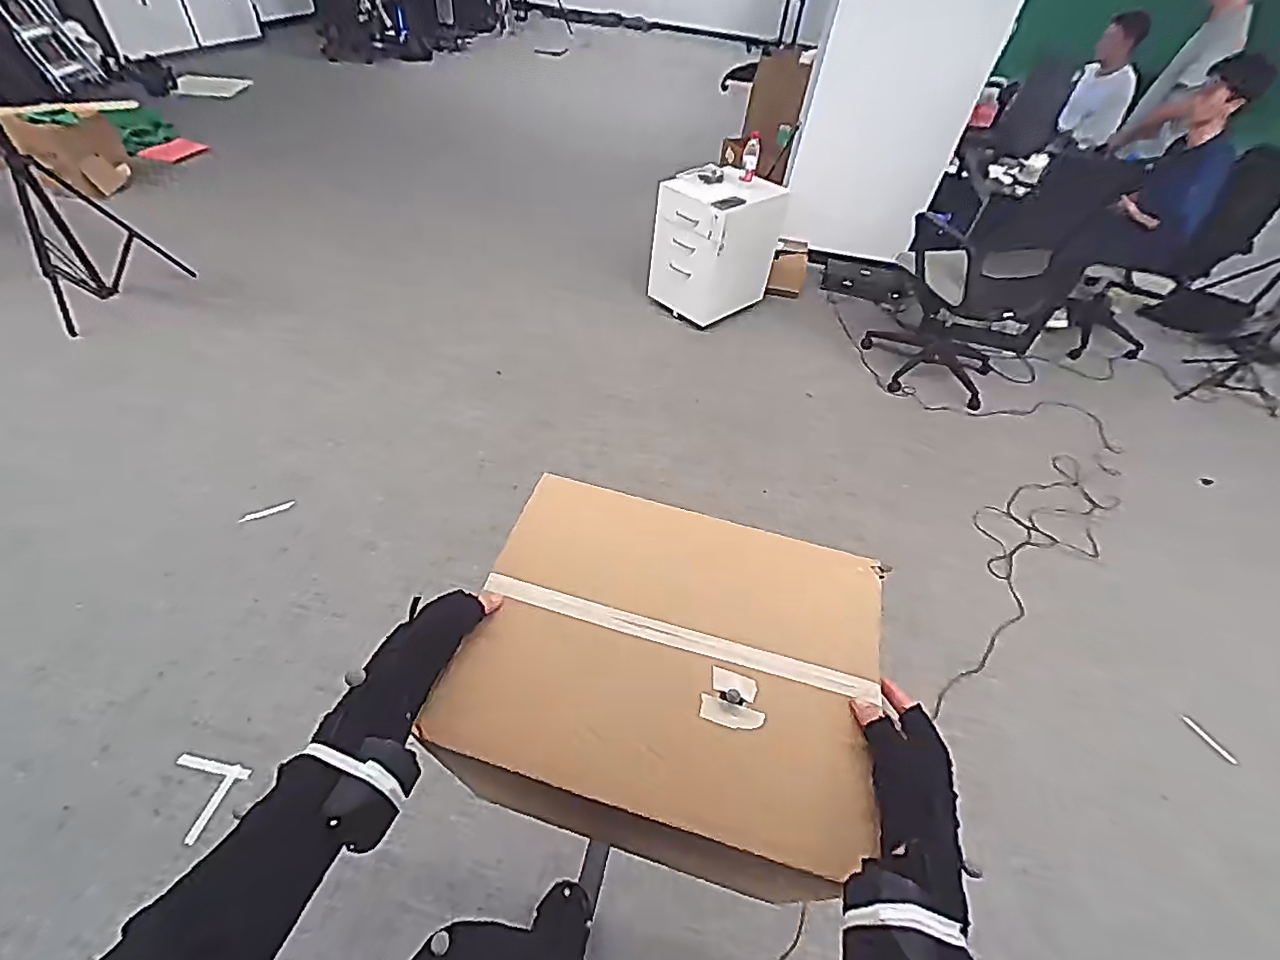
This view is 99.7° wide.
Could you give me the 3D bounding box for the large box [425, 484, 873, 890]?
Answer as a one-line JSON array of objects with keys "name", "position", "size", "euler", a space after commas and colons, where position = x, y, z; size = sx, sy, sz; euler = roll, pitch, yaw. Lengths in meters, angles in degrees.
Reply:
[{"name": "large box", "position": [0.023, 0.256, 0.665], "size": [0.408, 0.320, 0.320], "euler": [15, 53, 6]}]
